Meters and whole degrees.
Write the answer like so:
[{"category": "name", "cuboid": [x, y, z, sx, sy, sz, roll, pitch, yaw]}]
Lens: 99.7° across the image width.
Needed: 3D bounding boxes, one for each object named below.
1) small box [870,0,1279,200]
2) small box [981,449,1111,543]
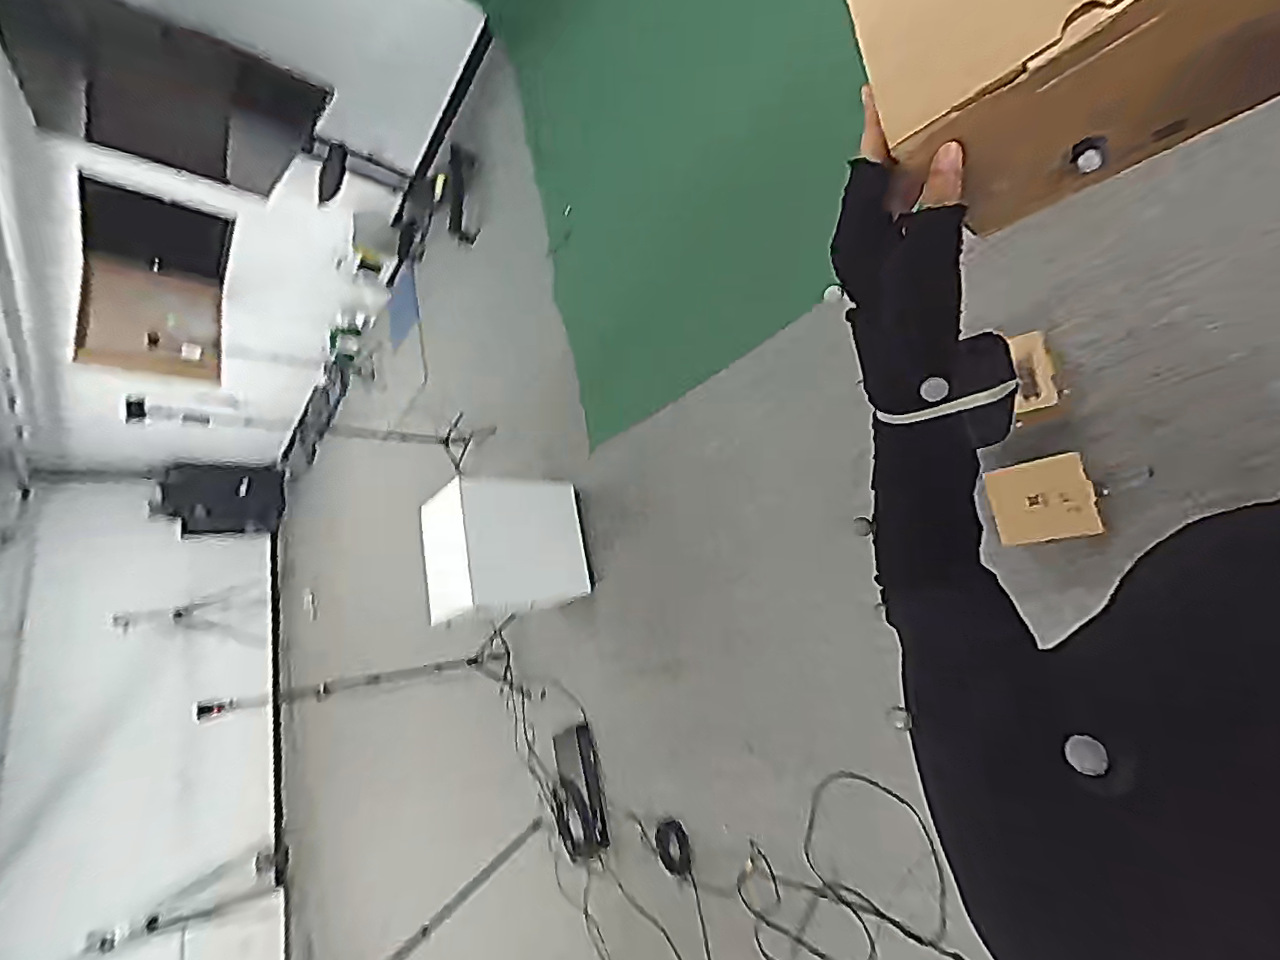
[{"category": "small box", "cuboid": [0.230, -0.290, 0.285, 0.168, 0.176, 0.179, -18, 80, 45]}, {"category": "small box", "cuboid": [0.877, 0.041, 1.169, 0.179, 0.176, 0.168, -21, 73, 43]}]
